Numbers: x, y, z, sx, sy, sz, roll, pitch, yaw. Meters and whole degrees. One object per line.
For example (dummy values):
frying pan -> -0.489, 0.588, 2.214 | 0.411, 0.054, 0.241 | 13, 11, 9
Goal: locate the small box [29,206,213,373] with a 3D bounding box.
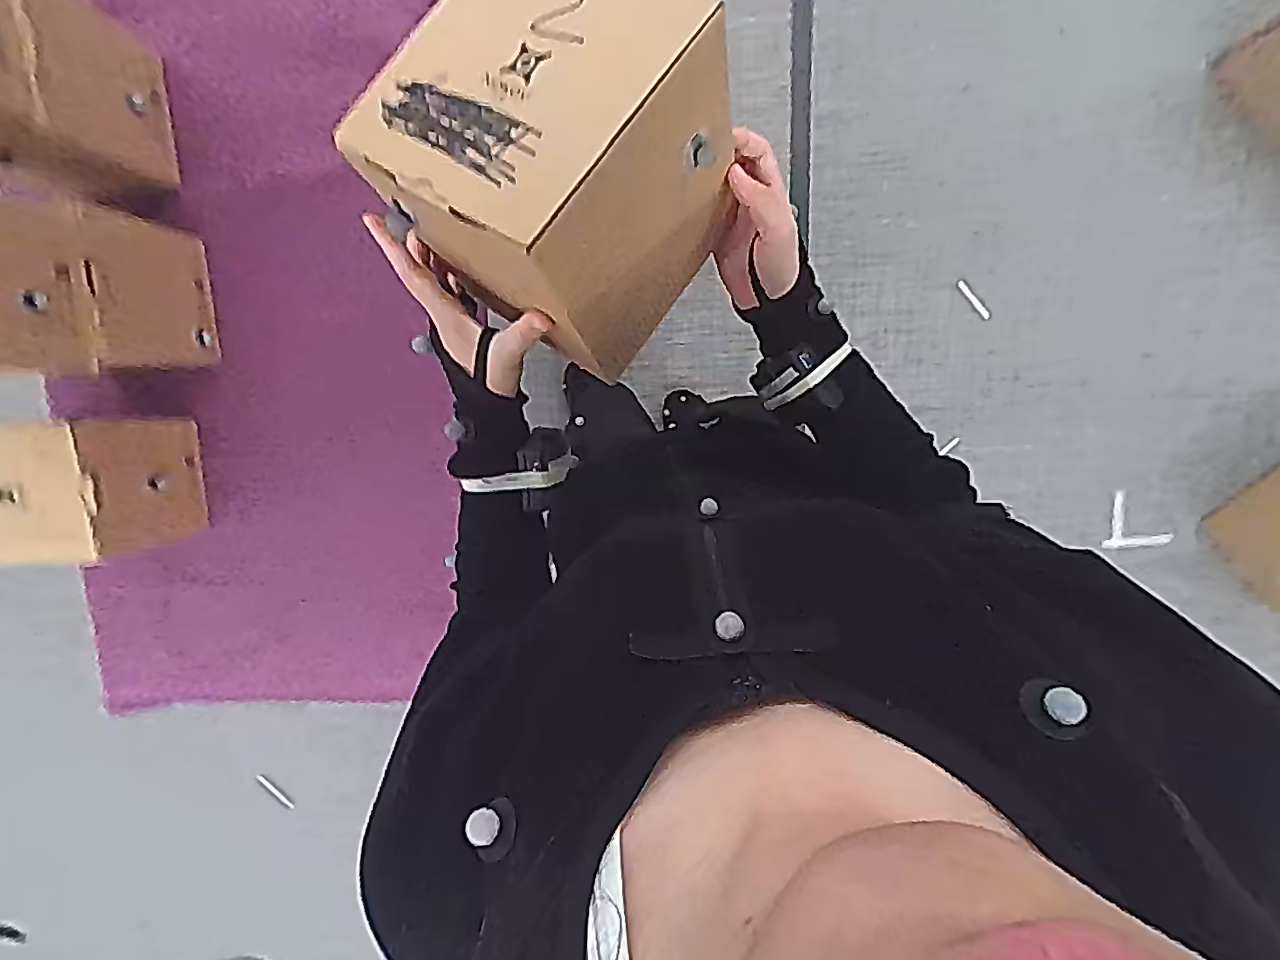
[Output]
small box -> -0.674, -0.222, 0.669 | 0.179, 0.176, 0.168 | -2, 98, 3

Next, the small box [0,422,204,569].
small box -> -0.715, 0.011, 0.705 | 0.179, 0.176, 0.168 | -1, 99, 1

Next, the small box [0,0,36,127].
small box -> -0.717, -0.429, 0.473 | 0.179, 0.176, 0.168 | -5, 99, 2

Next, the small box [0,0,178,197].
small box -> -0.706, -0.449, 0.634 | 0.179, 0.176, 0.168 | -2, 99, 2

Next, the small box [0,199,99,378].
small box -> -0.685, -0.183, 0.510 | 0.179, 0.176, 0.168 | 0, 99, 1
